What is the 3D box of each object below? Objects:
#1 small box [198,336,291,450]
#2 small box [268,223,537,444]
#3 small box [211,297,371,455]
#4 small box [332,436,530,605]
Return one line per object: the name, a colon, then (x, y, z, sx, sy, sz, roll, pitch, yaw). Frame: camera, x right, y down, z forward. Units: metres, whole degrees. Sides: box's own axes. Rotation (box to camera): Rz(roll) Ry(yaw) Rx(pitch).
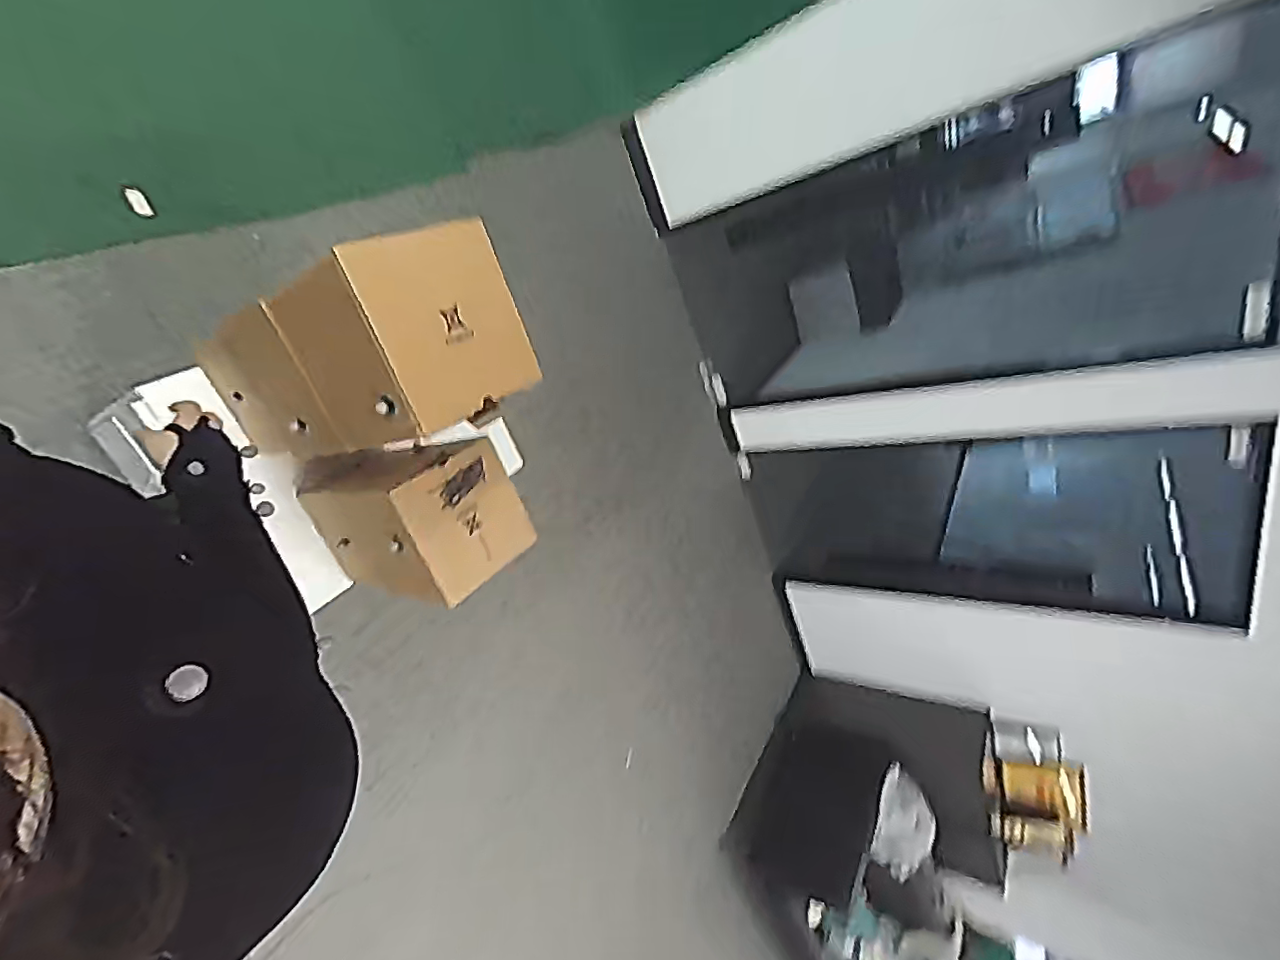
small box: (-0.497, -0.151, 0.786, 0.179, 0.176, 0.168, -42, 122, -43)
small box: (-0.249, -0.149, 0.576, 0.168, 0.176, 0.179, -41, 121, -44)
small box: (-0.380, -0.144, 0.675, 0.168, 0.176, 0.179, -44, 123, -43)
small box: (-0.297, 0.054, 0.770, 0.168, 0.176, 0.179, -39, 118, -44)
